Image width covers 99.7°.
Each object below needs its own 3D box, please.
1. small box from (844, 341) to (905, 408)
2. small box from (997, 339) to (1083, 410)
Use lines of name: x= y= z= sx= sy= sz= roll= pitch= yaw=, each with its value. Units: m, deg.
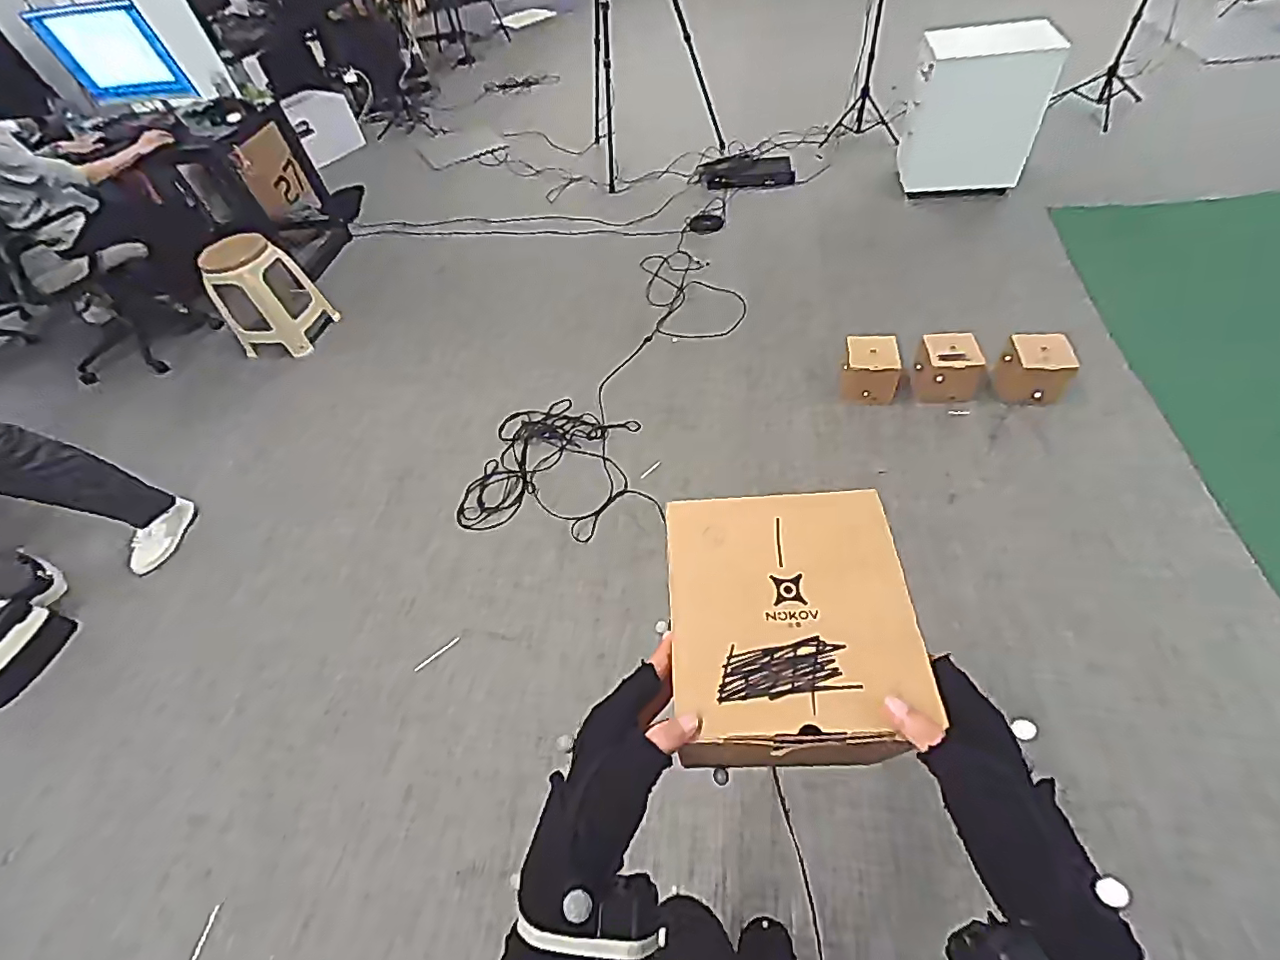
small box: x=0.841 y=-0.383 z=1.956 sx=0.168 sy=0.176 sz=0.179 roll=2 pitch=53 yaw=12
small box: x=1.361 y=-0.363 z=1.855 sx=0.168 sy=0.176 sz=0.179 roll=2 pitch=53 yaw=12
